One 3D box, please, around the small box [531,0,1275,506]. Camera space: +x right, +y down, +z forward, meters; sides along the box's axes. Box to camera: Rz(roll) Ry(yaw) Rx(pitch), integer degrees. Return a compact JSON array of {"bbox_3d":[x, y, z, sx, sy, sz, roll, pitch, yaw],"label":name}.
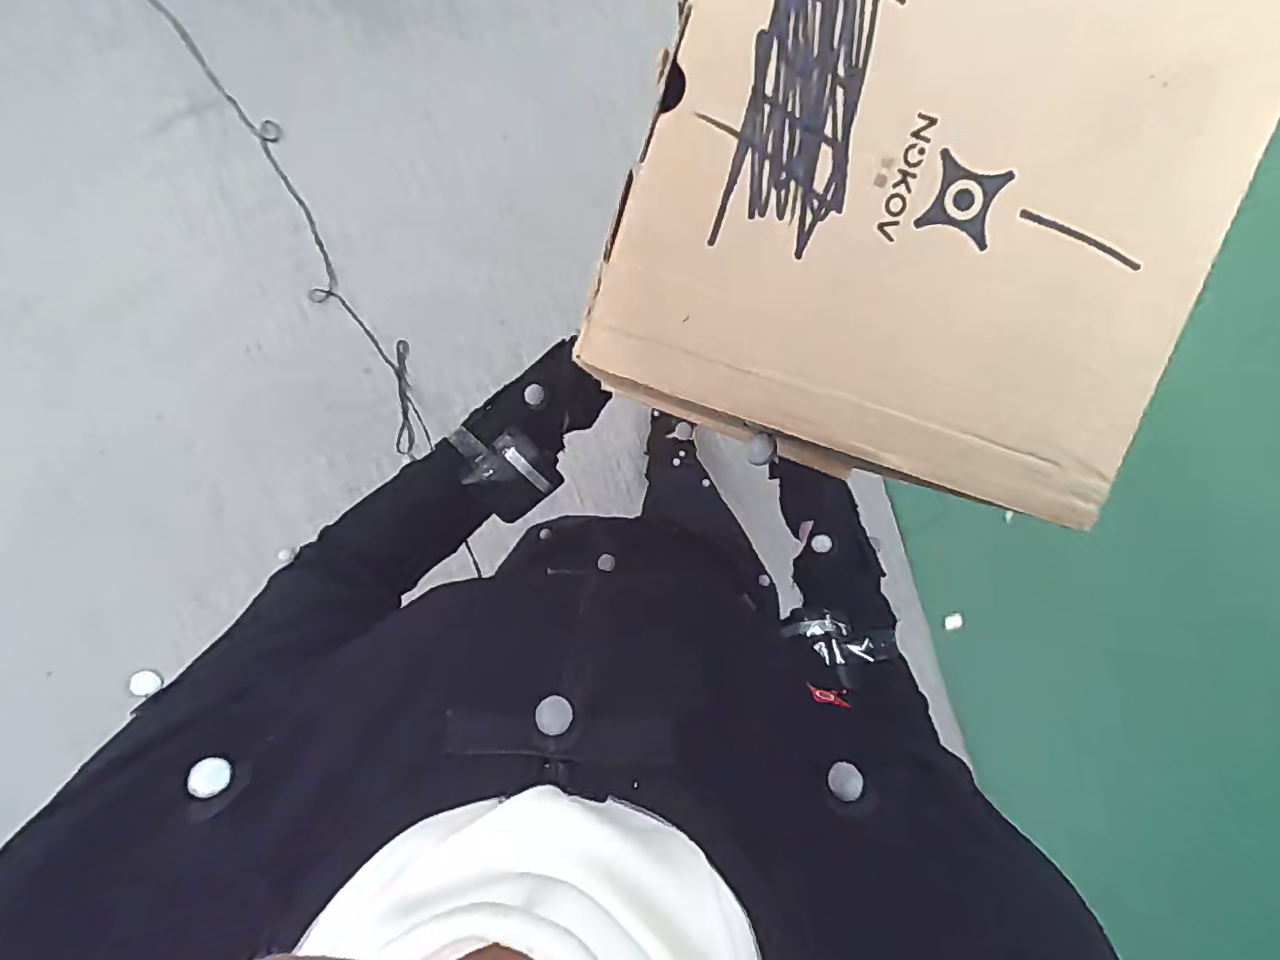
[{"bbox_3d":[0.073,-0.104,0.238,0.179,0.176,0.168,18,98,-3],"label":"small box"}]
